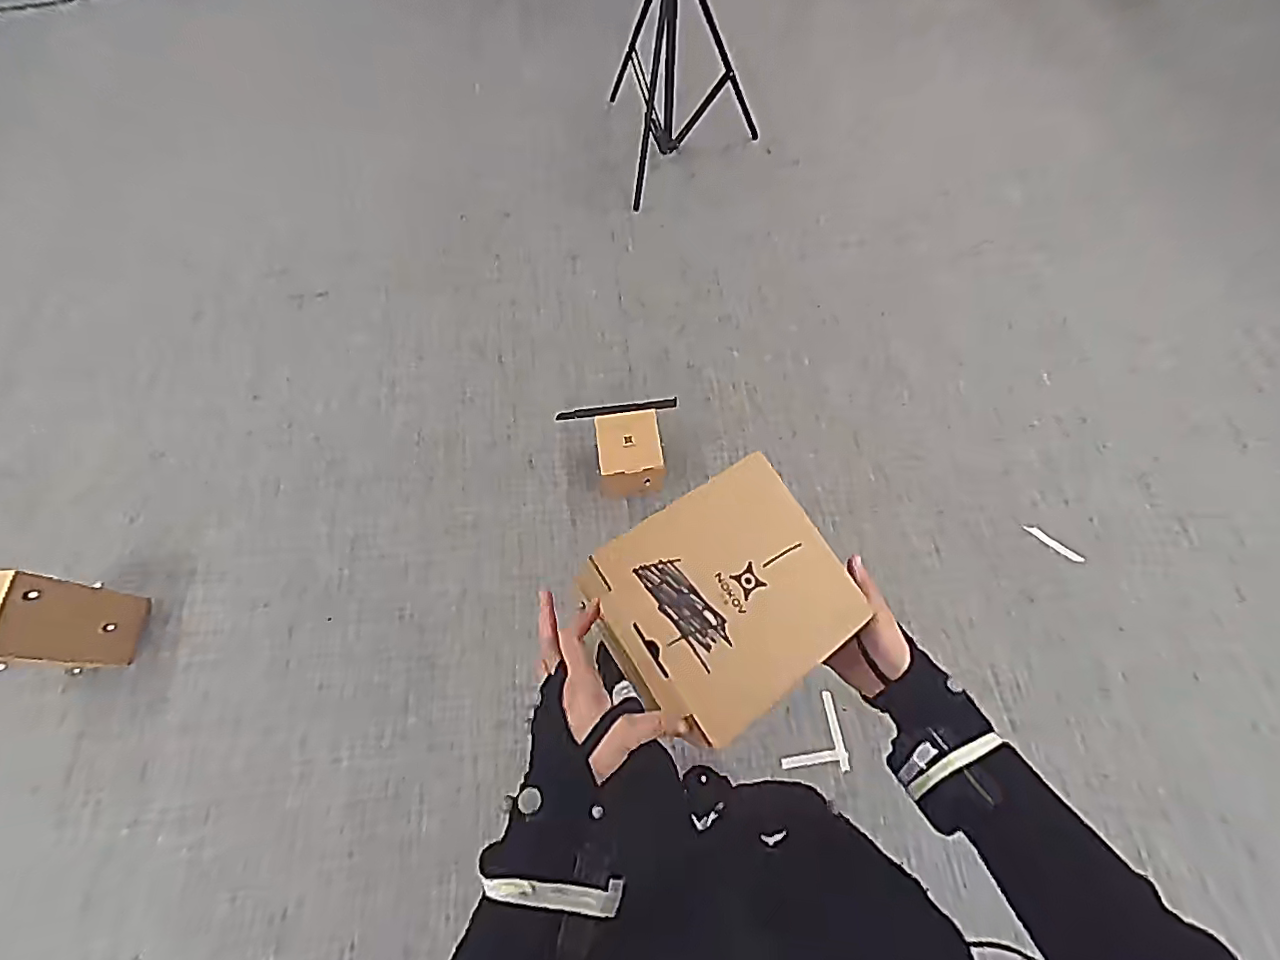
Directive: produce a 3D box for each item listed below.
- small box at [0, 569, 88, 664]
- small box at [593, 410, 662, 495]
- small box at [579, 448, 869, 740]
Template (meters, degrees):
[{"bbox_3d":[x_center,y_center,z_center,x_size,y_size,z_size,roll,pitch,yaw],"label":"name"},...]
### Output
[{"bbox_3d":[-1.372,0.299,1.172,0.168,0.176,0.179,-2,68,1],"label":"small box"},{"bbox_3d":[-0.032,-0.068,1.485,0.168,0.176,0.179,-8,67,-3],"label":"small box"},{"bbox_3d":[0.057,0.103,0.493,0.179,0.176,0.168,-30,81,-21],"label":"small box"}]
